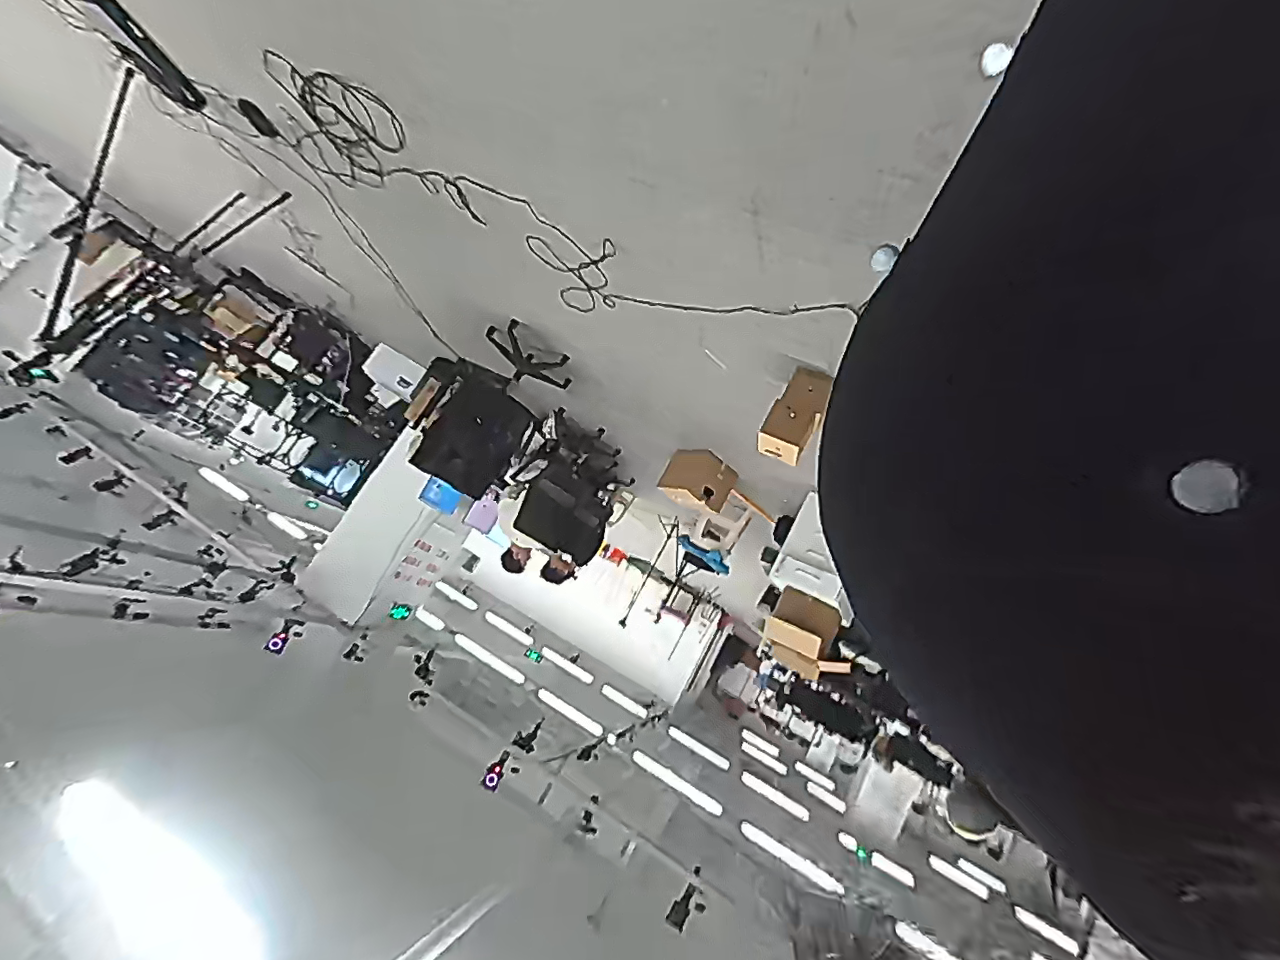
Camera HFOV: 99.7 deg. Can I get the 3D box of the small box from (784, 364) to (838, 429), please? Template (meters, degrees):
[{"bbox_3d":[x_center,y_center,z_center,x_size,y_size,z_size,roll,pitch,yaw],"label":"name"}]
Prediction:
[{"bbox_3d":[0.682,-0.338,2.176,0.168,0.176,0.179,25,167,20],"label":"small box"}]

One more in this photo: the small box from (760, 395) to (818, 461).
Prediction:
[{"bbox_3d":[0.588,-0.206,2.140,0.168,0.176,0.179,24,165,19],"label":"small box"}]
